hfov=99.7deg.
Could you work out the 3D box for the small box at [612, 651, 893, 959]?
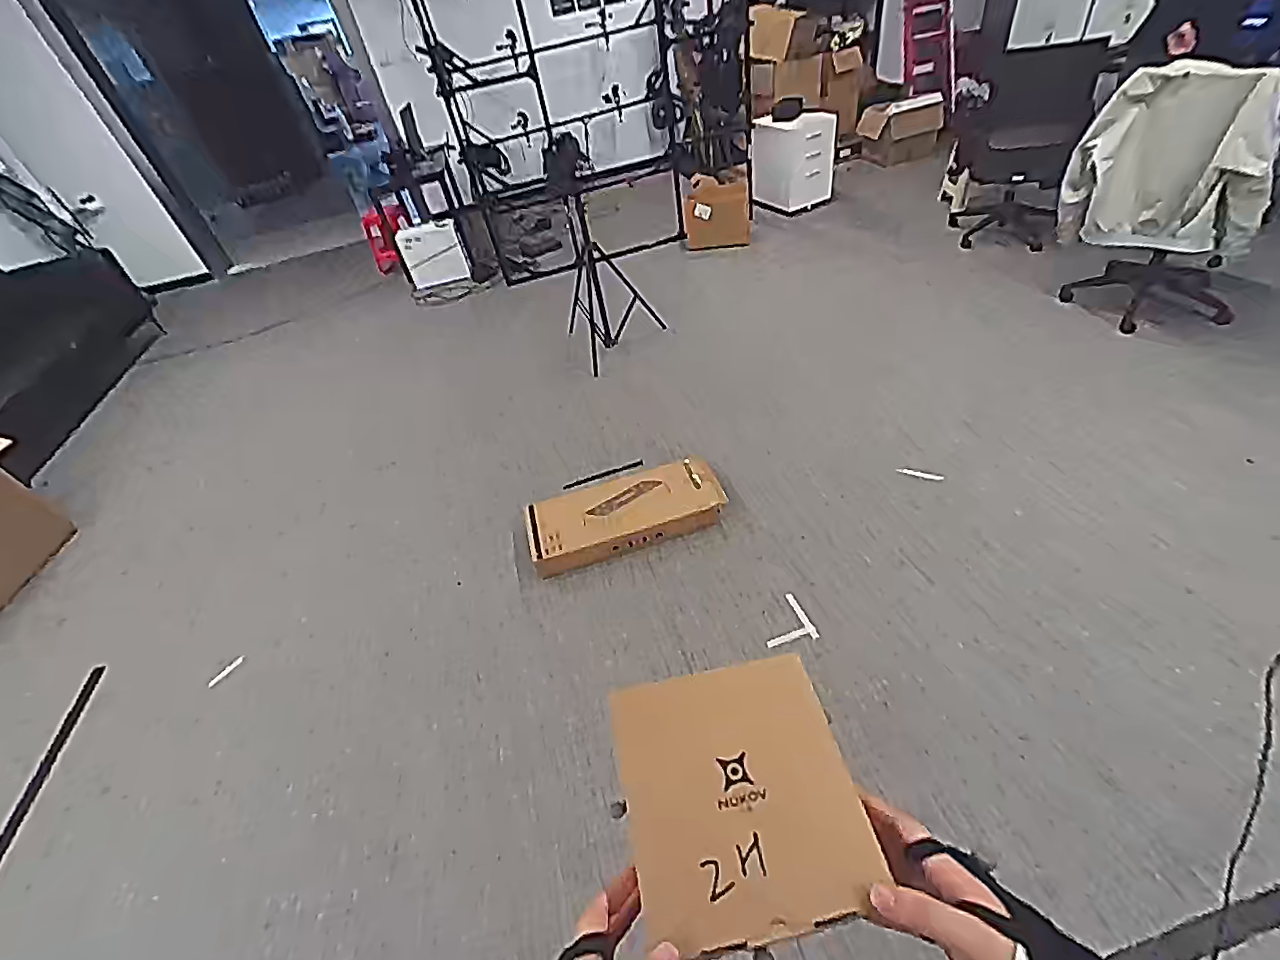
[{"bbox_3d":[0.074,0.275,0.456,0.168,0.176,0.179,-11,47,-5],"label":"small box"}]
